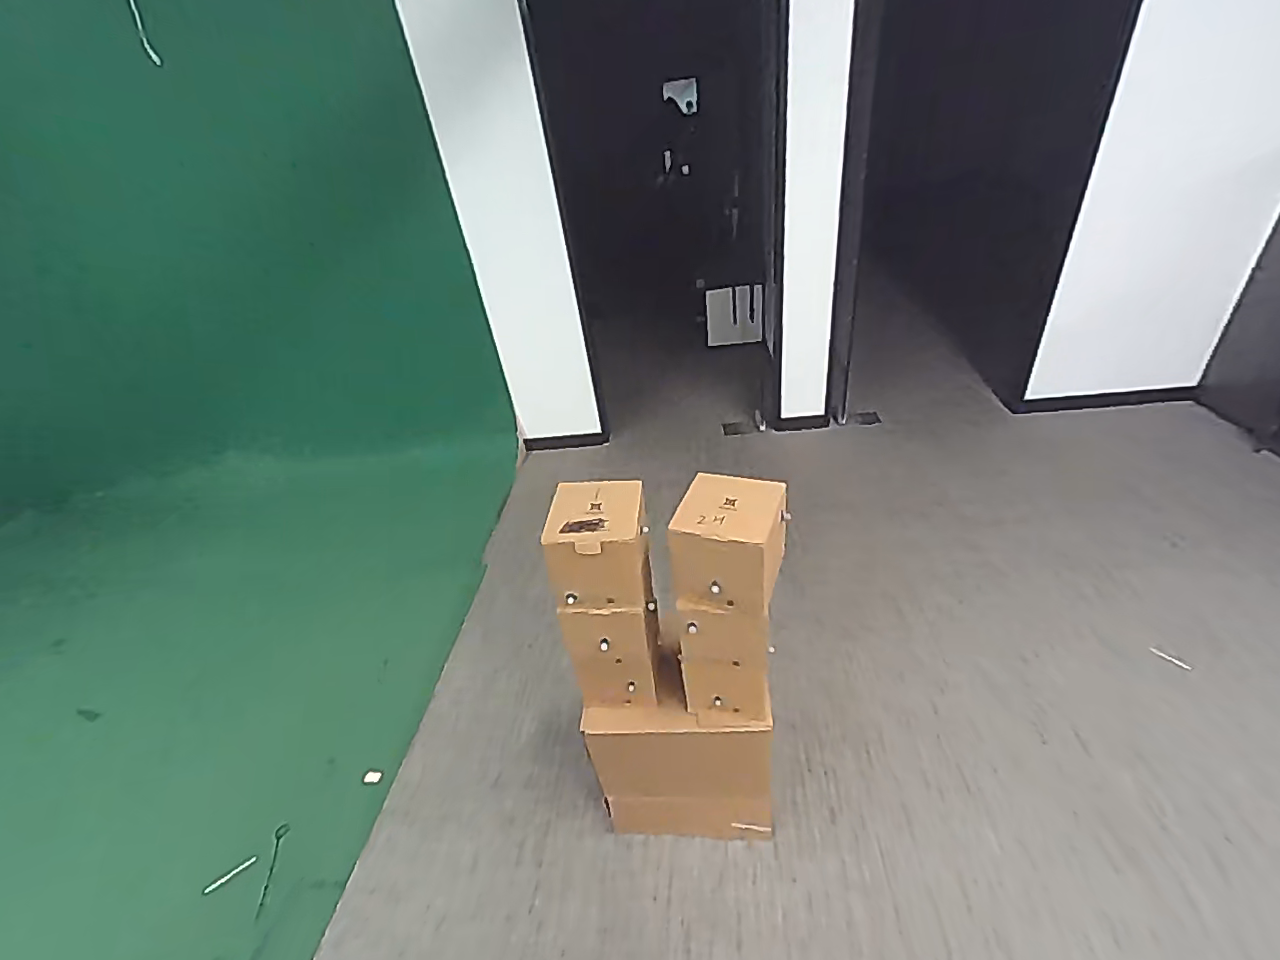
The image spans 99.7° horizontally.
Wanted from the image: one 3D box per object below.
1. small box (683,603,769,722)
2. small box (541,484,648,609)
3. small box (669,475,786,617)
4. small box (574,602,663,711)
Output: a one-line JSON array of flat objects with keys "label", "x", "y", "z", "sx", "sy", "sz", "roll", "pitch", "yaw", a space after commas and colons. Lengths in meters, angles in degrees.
[{"label": "small box", "x": 0.190, "y": 0.387, "z": 1.162, "sx": 0.168, "sy": 0.176, "sz": 0.179, "roll": -1, "pitch": 35, "yaw": 14}, {"label": "small box", "x": -0.075, "y": 0.128, "z": 1.019, "sx": 0.168, "sy": 0.176, "sz": 0.179, "roll": -2, "pitch": 34, "yaw": 6}, {"label": "small box", "x": 0.163, "y": 0.115, "z": 0.977, "sx": 0.168, "sy": 0.176, "sz": 0.179, "roll": 7, "pitch": 37, "yaw": 23}, {"label": "small box", "x": -0.040, "y": 0.394, "z": 1.209, "sx": 0.168, "sy": 0.176, "sz": 0.179, "roll": -1, "pitch": 35, "yaw": 8}]
